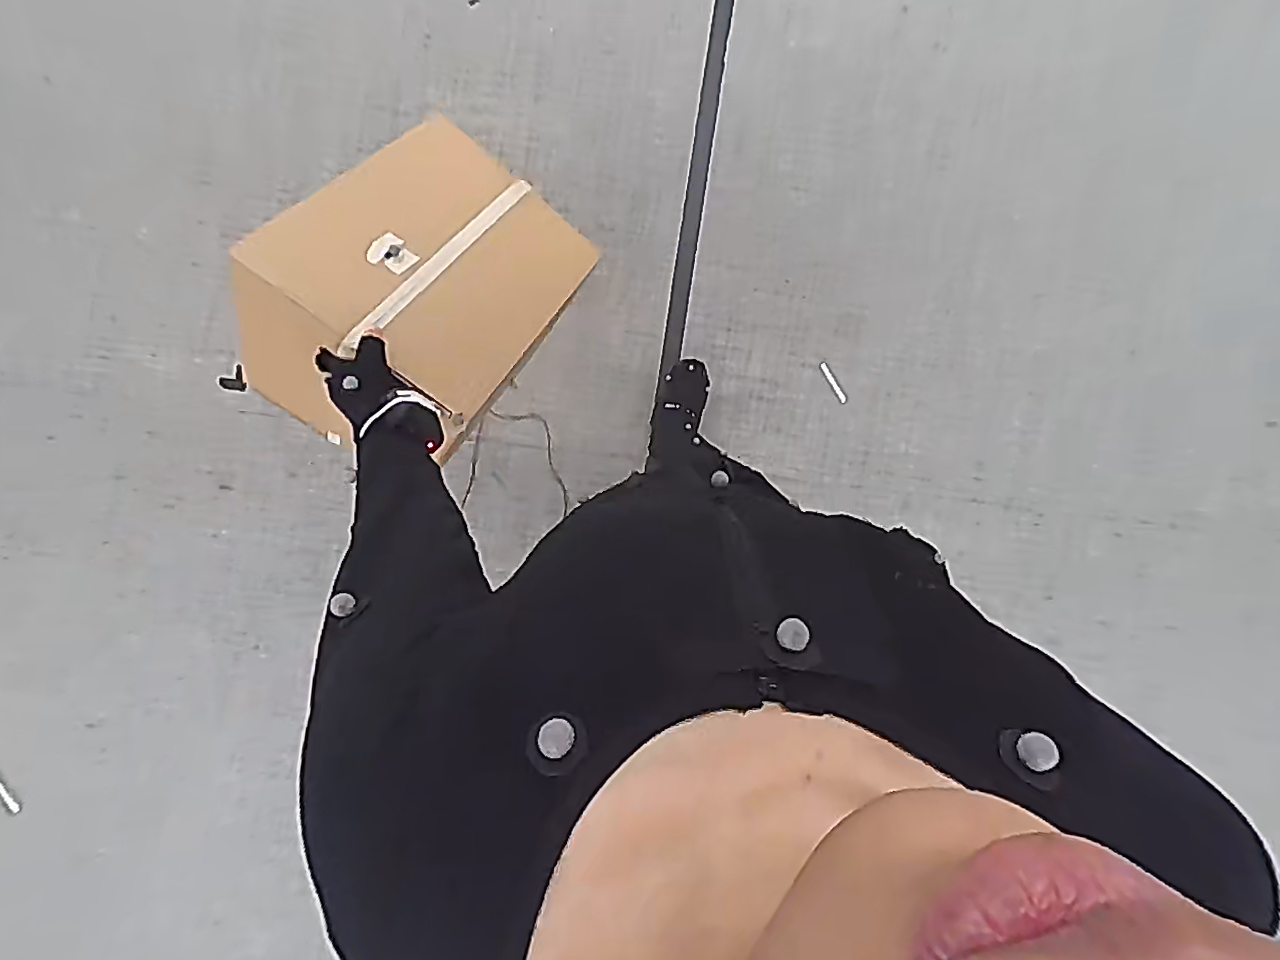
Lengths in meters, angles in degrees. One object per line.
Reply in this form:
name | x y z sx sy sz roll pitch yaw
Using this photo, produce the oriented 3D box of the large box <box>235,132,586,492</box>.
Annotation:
large box | -0.352 -0.256 0.884 0.320 0.320 0.408 36 56 -14
